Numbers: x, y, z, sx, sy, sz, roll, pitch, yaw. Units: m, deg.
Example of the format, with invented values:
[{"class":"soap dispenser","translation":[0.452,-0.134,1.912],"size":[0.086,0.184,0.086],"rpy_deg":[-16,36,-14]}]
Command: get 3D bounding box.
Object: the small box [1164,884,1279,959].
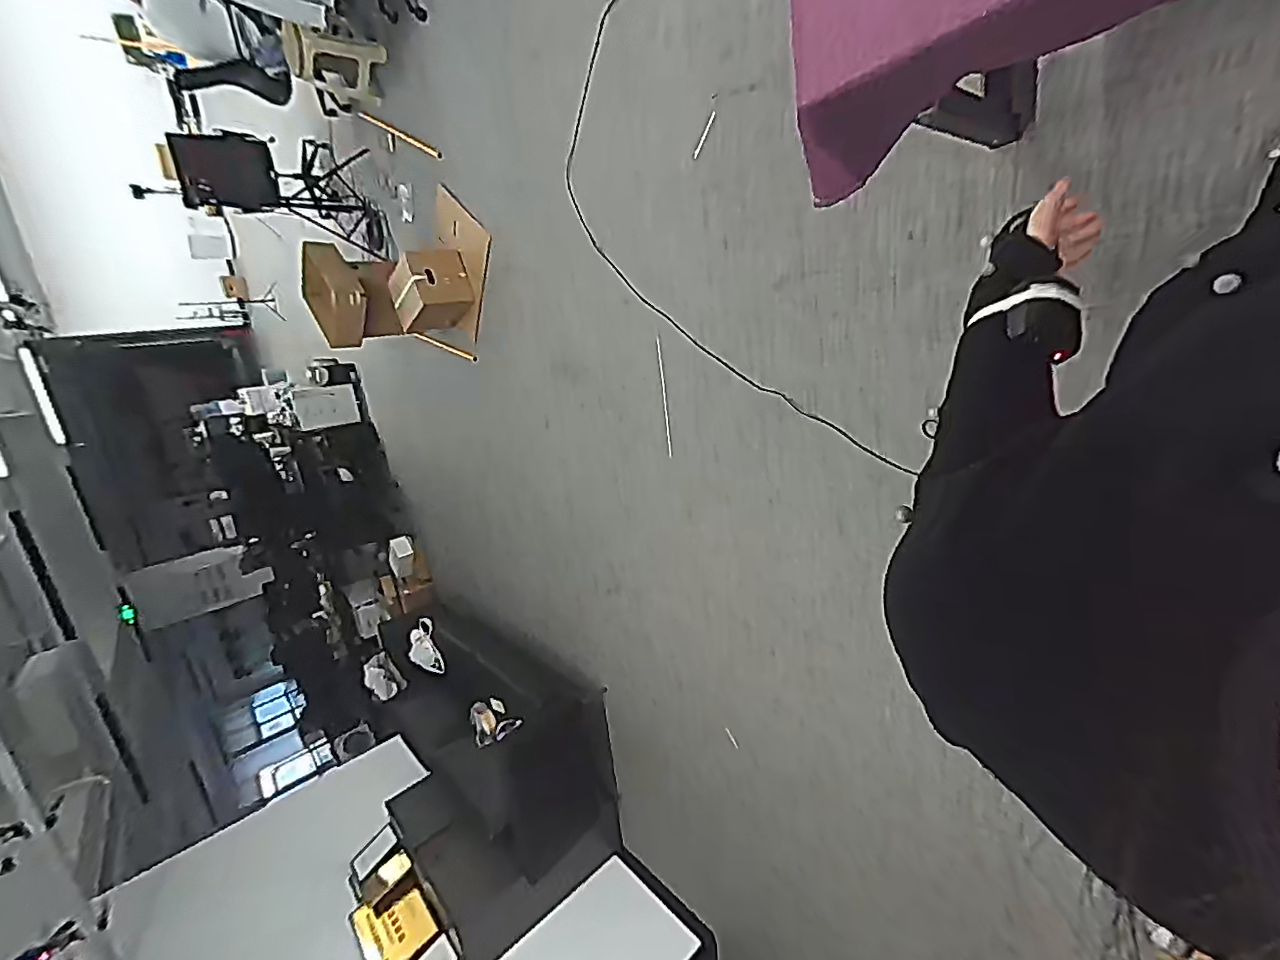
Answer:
[{"class":"small box","translation":[1.295,1.046,1.190],"size":[0.179,0.176,0.168],"rpy_deg":[12,115,48]}]
